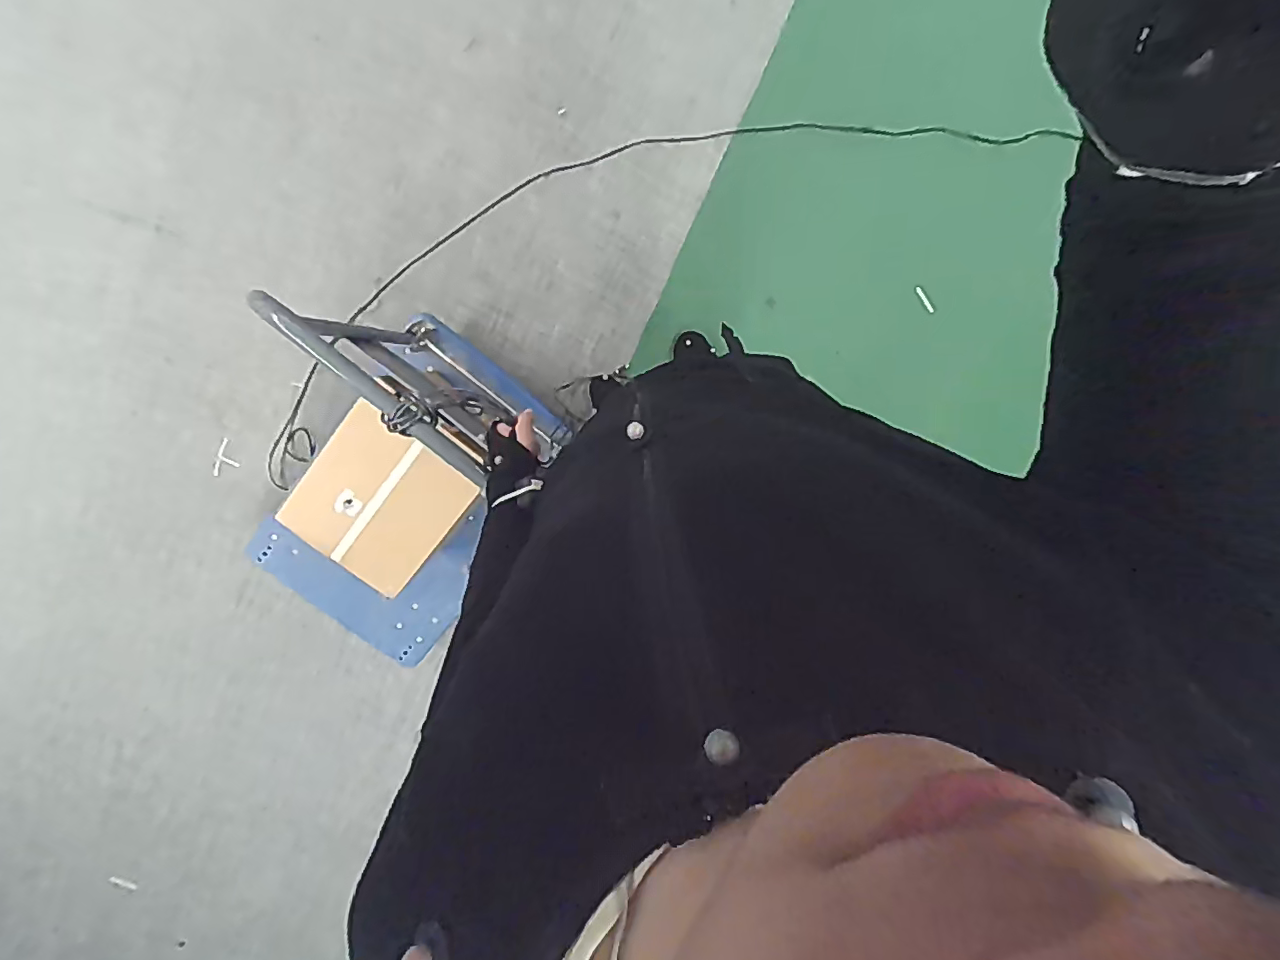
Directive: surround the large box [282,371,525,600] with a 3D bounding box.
[{"bbox_3d":[-0.538,-0.006,1.301,0.320,0.320,0.408,39,101,-8],"label":"large box"}]
